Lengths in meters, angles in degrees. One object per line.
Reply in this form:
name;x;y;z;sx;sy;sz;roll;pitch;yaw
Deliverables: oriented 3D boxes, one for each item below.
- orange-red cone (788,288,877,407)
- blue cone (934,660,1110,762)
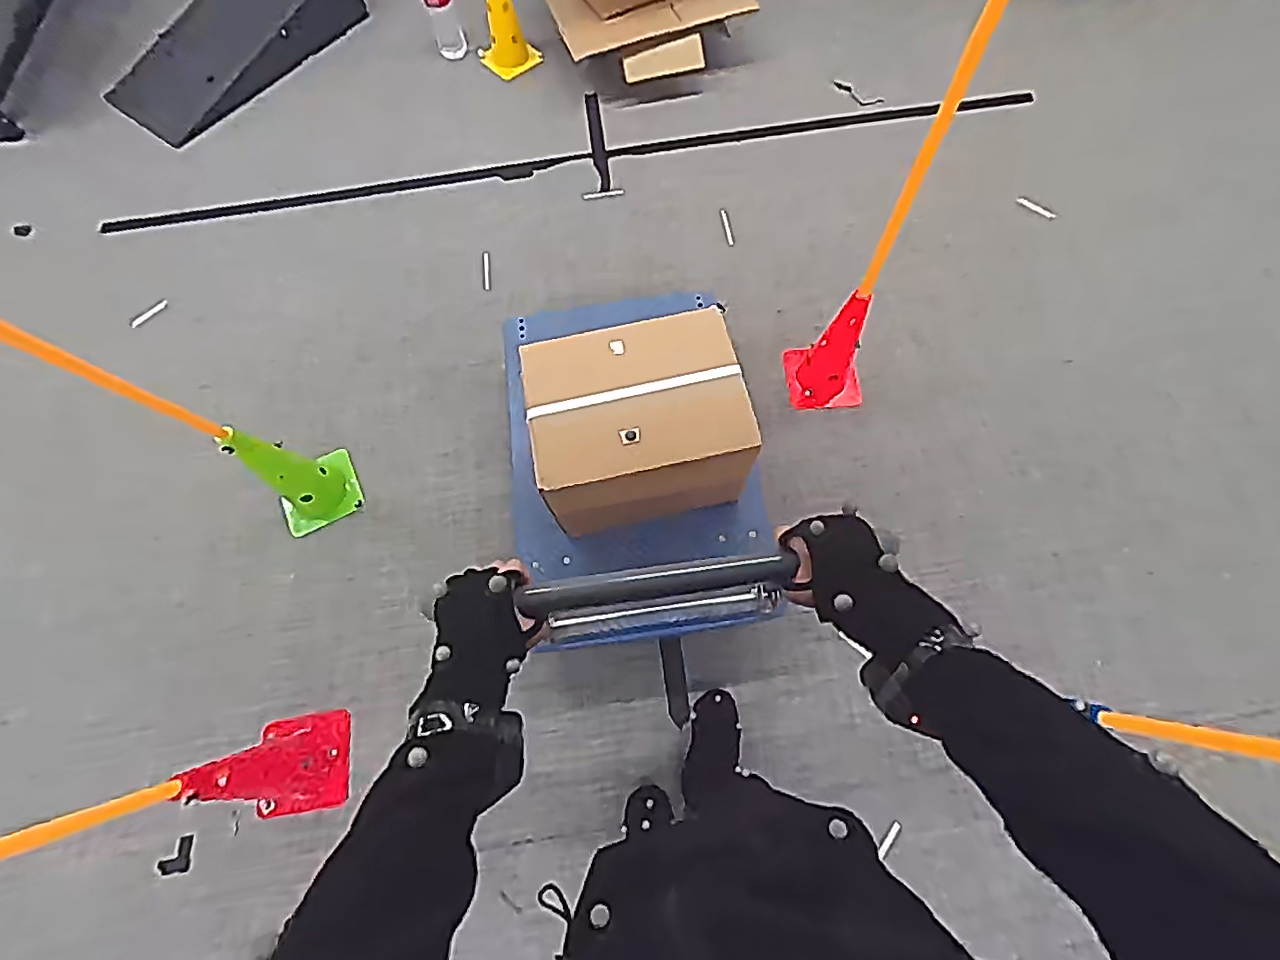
orange-red cone;0.526;-0.358;1.387;0.199;0.360;0.198;-2;69;0
blue cone;0.777;0.458;1.069;0.193;0.380;0.192;-12;67;-3
